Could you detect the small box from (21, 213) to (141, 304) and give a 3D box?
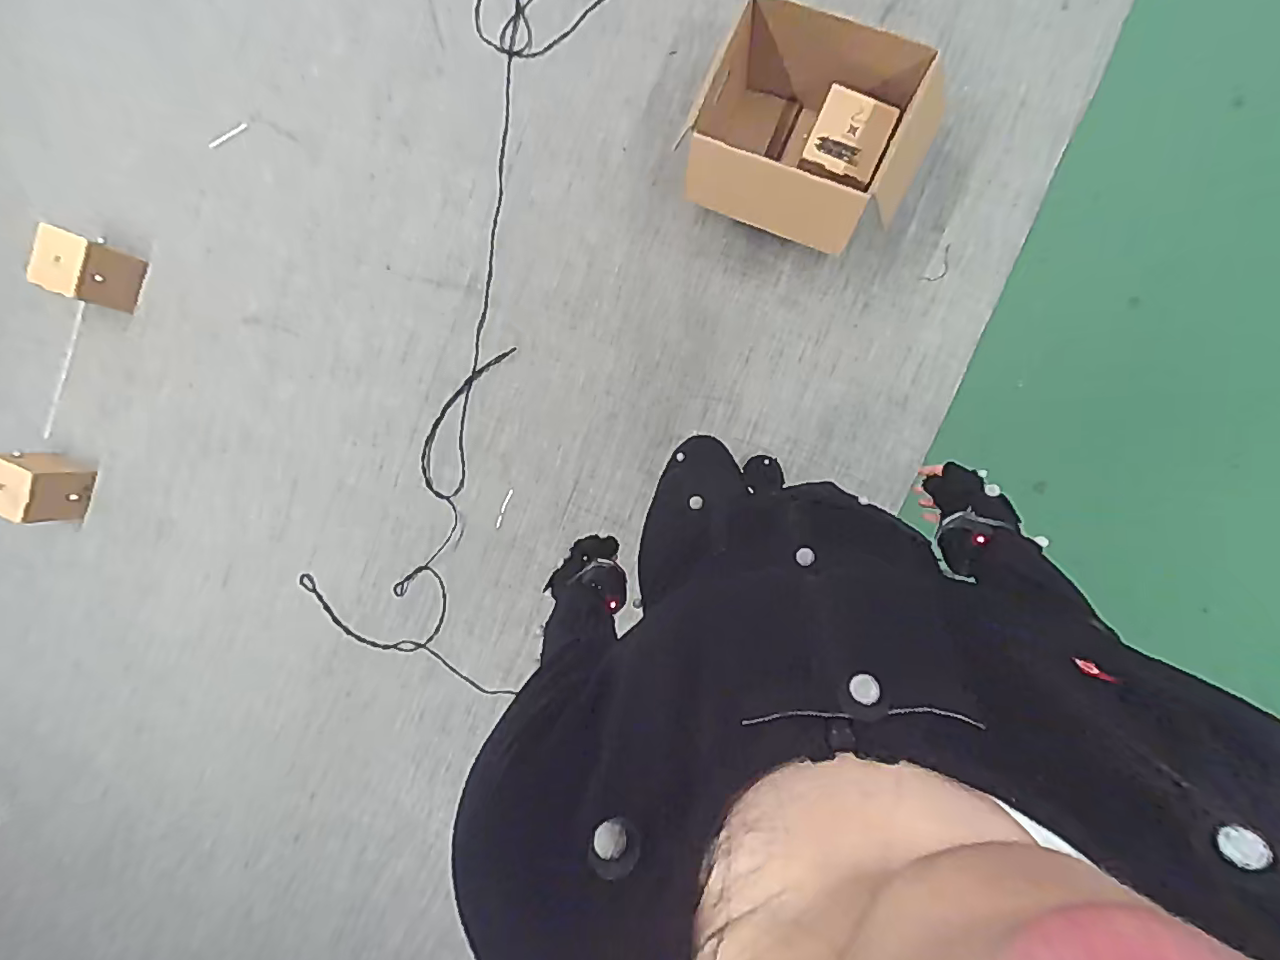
[{"bbox_3d":[-1.631,-0.643,1.587,0.168,0.176,0.179,22,97,5],"label":"small box"}]

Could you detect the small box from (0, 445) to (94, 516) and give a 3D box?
[{"bbox_3d":[-1.860,-0.002,1.663,0.179,0.176,0.168,22,97,6],"label":"small box"}]
